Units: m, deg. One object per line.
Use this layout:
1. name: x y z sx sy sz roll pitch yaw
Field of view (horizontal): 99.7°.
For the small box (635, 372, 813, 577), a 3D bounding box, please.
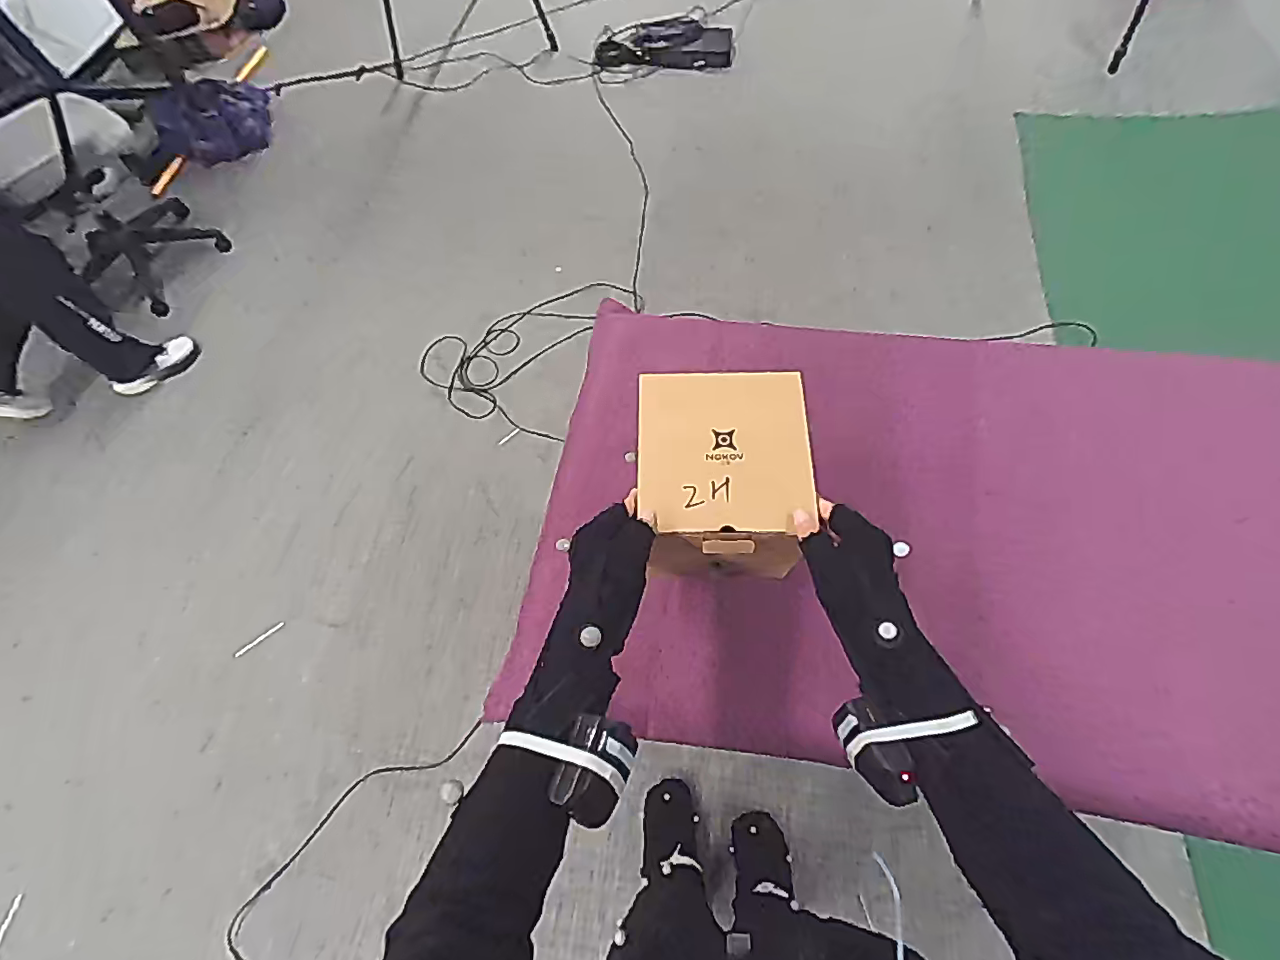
1. small box: 0.082 0.000 0.600 0.168 0.176 0.179 0 67 4
